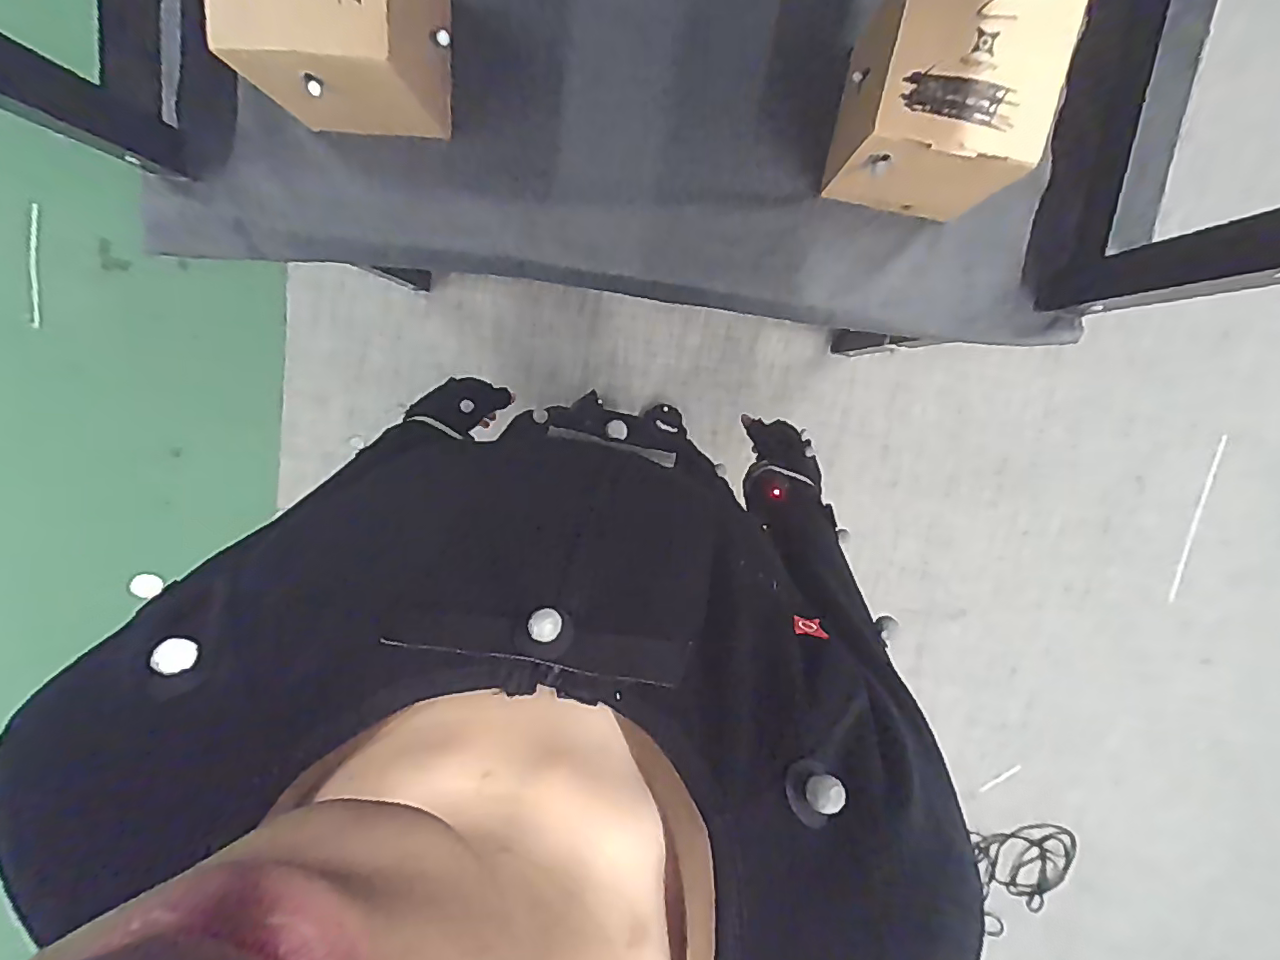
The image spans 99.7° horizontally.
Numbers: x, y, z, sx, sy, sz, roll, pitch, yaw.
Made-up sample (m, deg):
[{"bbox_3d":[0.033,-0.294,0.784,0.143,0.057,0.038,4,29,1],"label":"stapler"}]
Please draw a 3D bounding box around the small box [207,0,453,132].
[{"bbox_3d":[-0.318,-0.502,0.580,0.179,0.176,0.168,4,101,-1],"label":"small box"}]
